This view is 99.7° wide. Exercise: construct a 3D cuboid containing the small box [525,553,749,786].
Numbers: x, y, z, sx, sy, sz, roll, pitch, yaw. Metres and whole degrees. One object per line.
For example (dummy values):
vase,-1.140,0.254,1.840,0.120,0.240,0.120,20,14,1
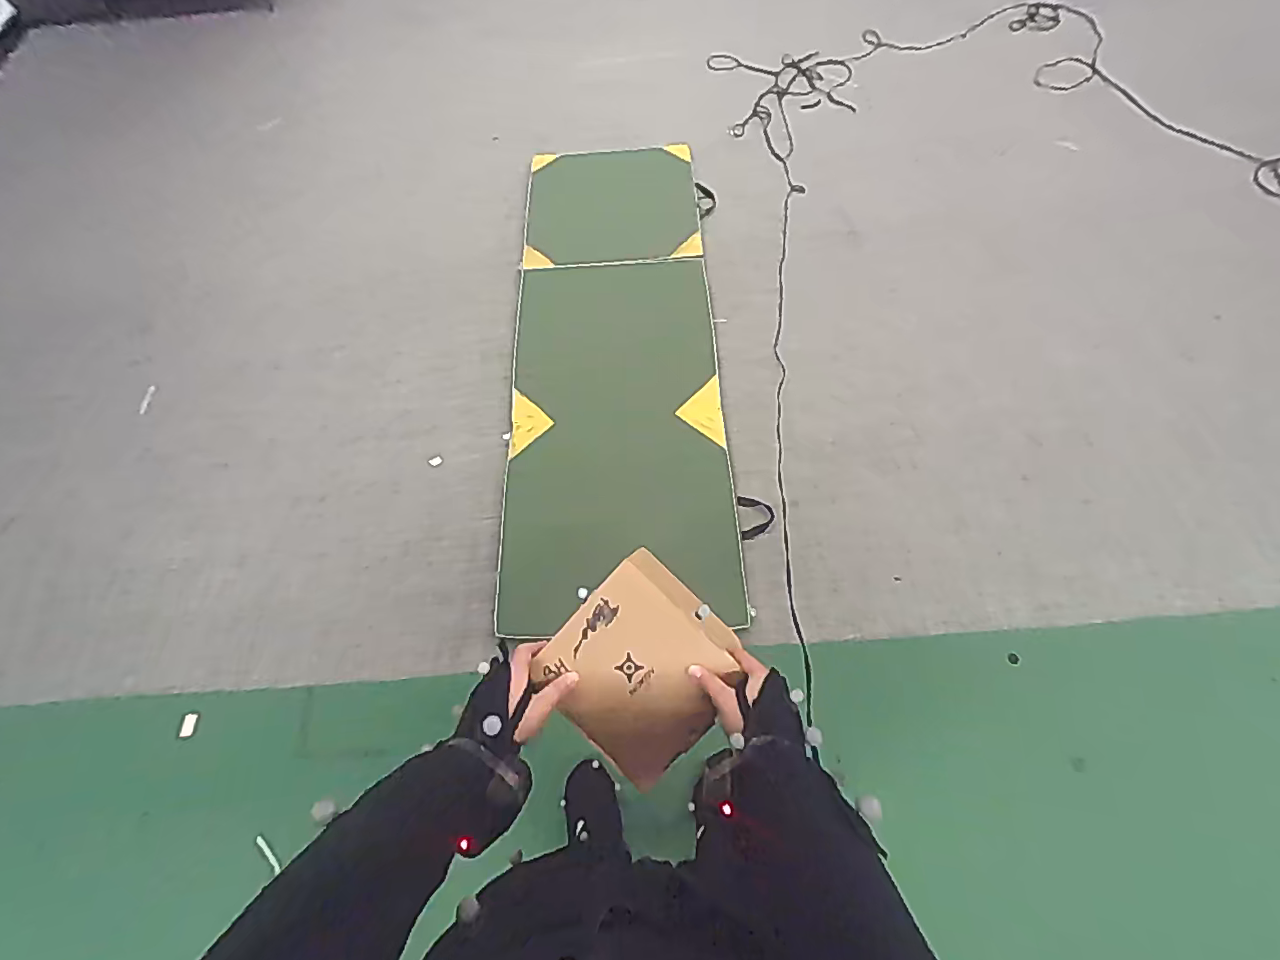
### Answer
small box,0.002,0.201,0.634,0.179,0.176,0.168,44,90,6
